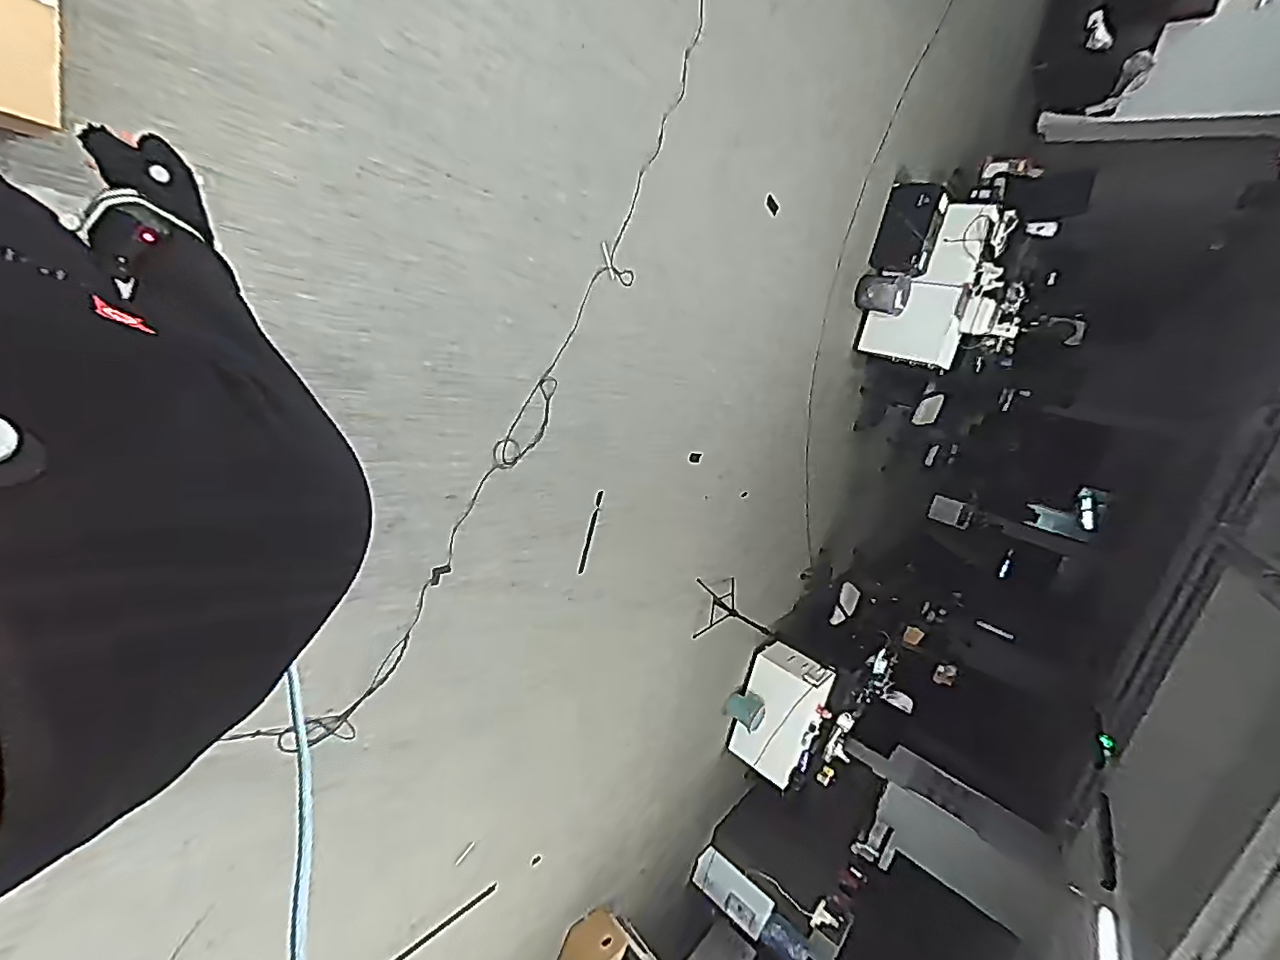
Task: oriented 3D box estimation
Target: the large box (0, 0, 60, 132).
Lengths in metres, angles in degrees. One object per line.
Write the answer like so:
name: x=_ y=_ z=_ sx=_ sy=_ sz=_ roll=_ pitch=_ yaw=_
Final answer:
large box: x=-1.017 y=-0.675 z=0.648 sx=0.408 sy=0.320 sz=0.320 roll=-5 pitch=114 yaw=-52
